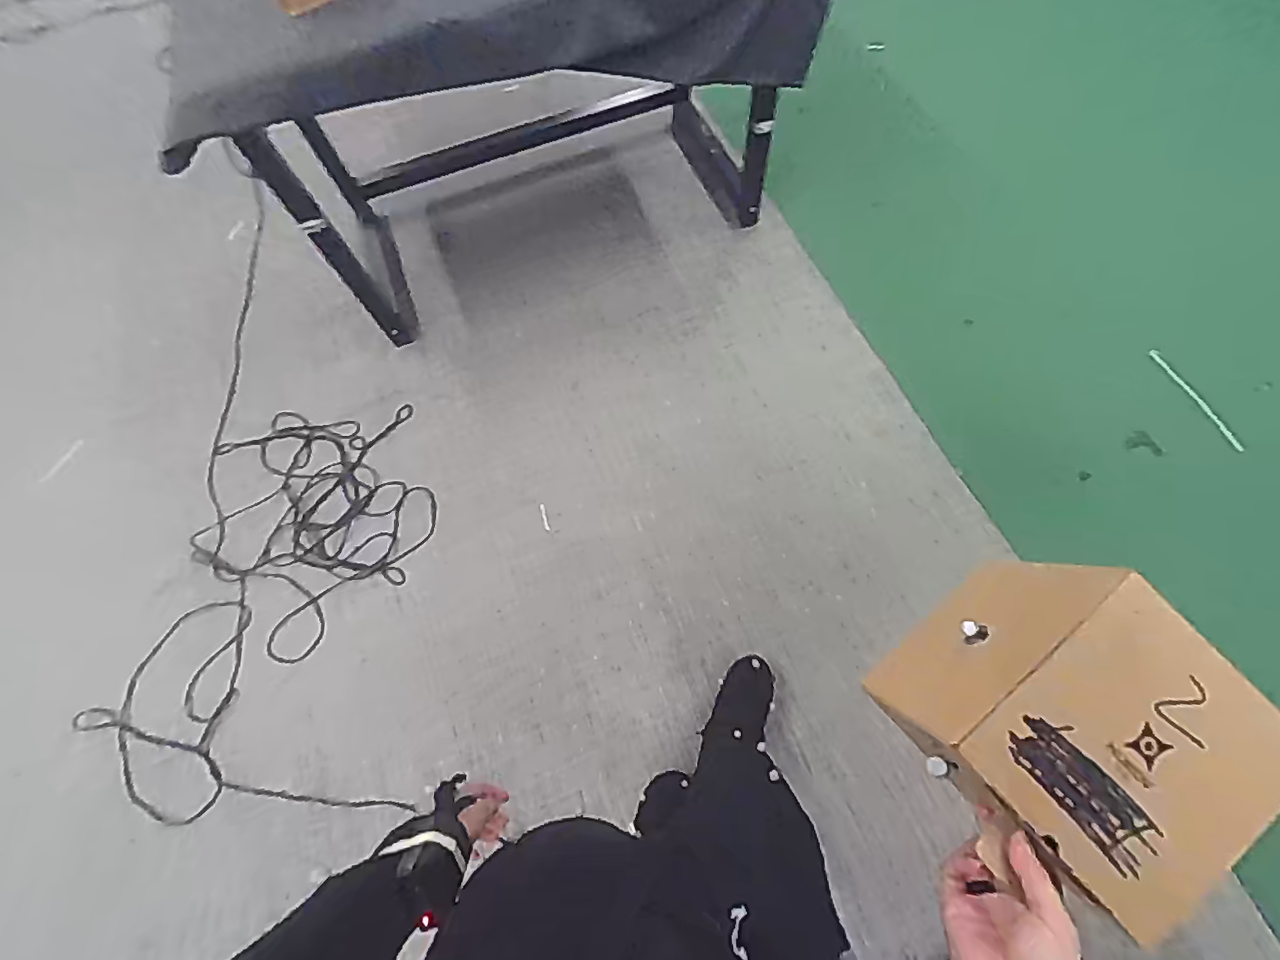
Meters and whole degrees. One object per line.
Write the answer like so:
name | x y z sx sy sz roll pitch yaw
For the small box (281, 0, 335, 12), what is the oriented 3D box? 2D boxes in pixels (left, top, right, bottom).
small box | -0.618 -0.985 0.958 0.168 0.176 0.179 -31 70 -10
